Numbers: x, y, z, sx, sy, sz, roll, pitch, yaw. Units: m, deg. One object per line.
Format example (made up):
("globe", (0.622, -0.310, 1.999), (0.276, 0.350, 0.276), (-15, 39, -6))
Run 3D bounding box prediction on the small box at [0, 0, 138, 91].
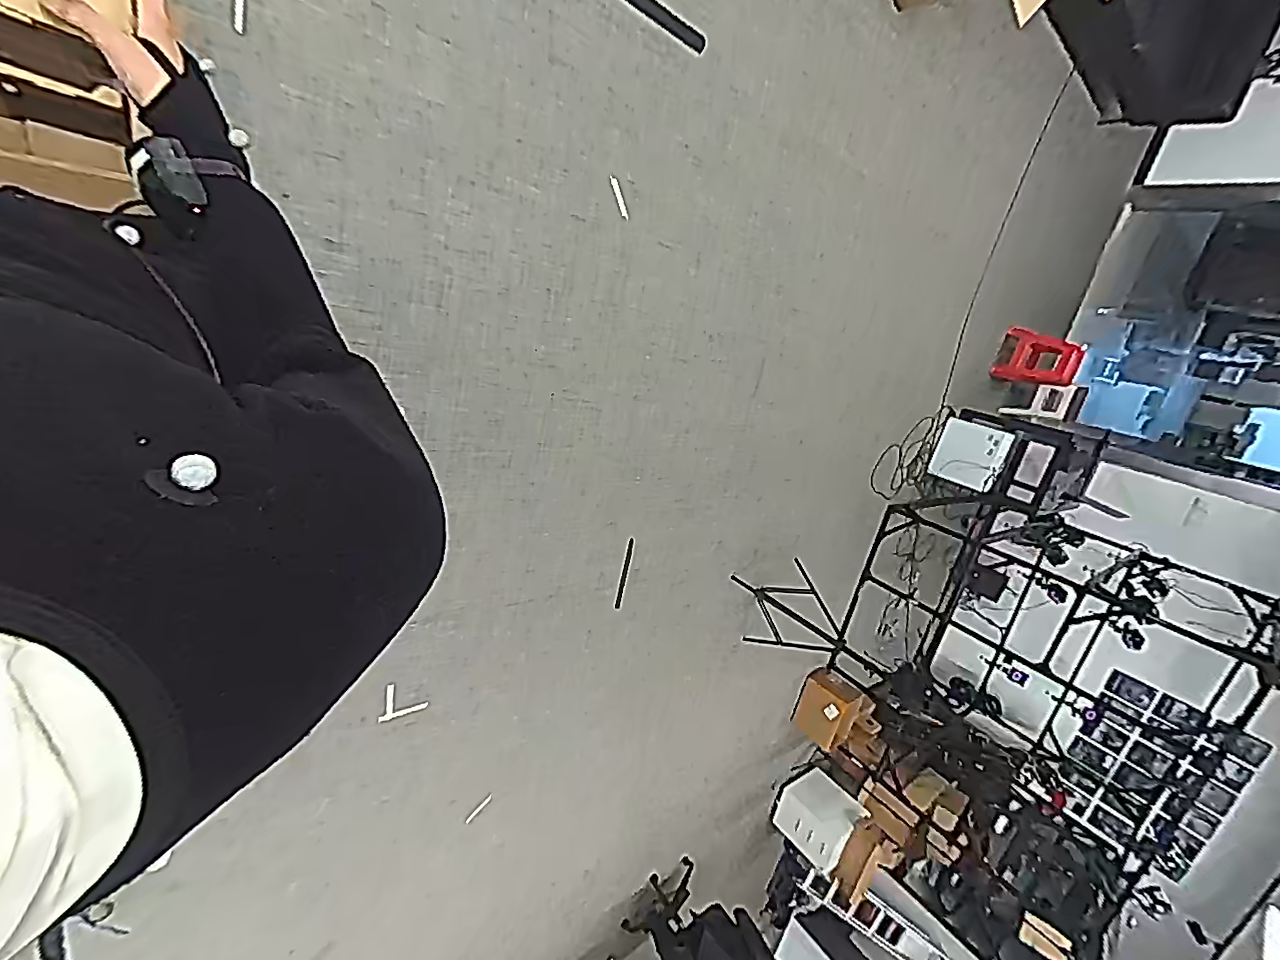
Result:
("small box", (-0.527, -0.448, 0.422), (0.168, 0.176, 0.179), (-8, 110, -53))
